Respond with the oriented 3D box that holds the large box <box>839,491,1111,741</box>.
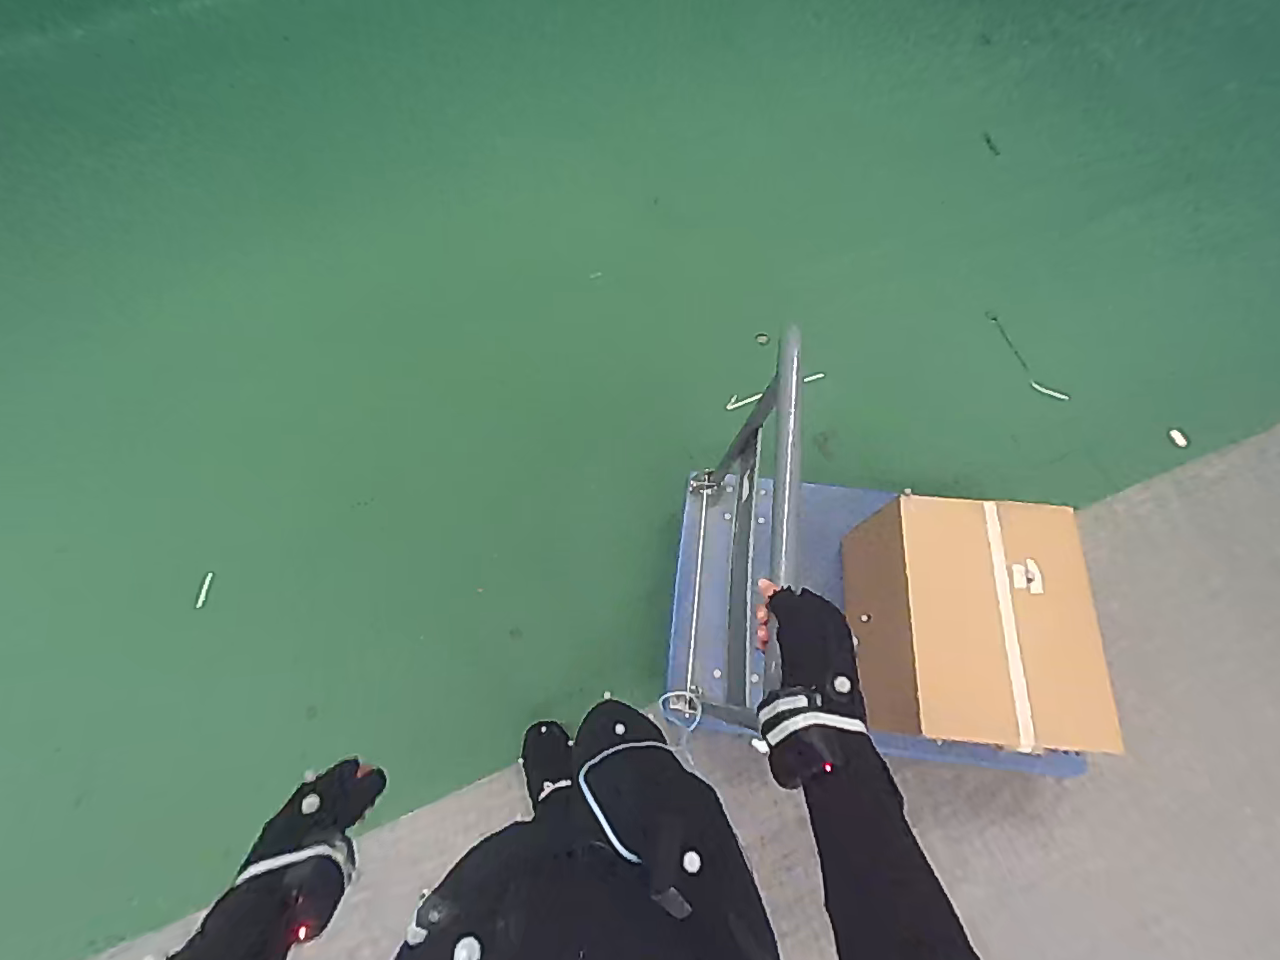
[{"bbox_3d":[0.602,0.272,1.060,0.320,0.320,0.408,6,68,0],"label":"large box"}]
